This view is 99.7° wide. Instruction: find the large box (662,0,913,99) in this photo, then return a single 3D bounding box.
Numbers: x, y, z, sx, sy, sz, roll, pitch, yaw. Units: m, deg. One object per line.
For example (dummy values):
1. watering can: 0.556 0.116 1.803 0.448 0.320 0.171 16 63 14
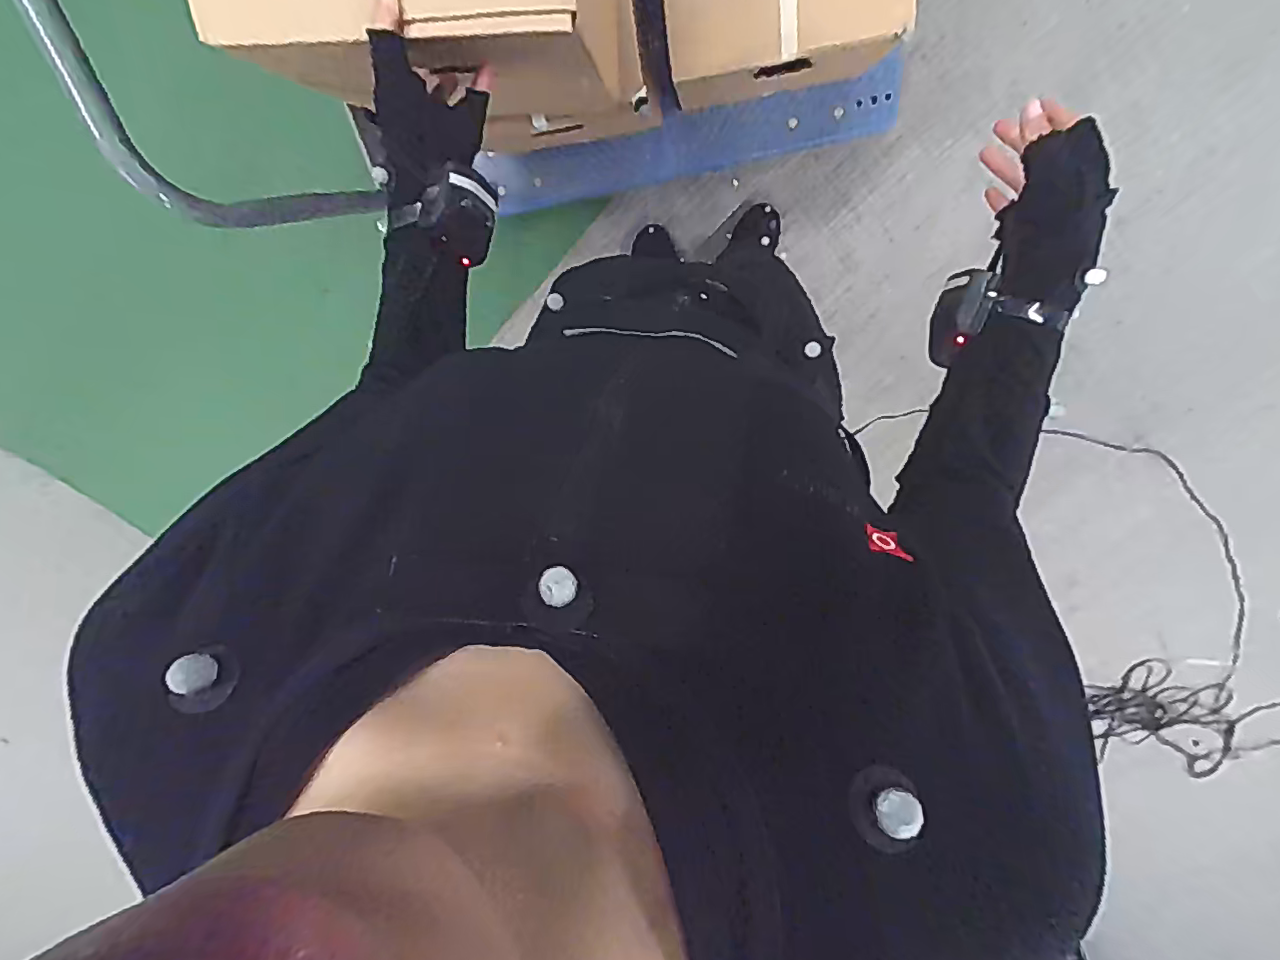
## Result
1. large box: 0.174 -0.809 0.744 0.320 0.320 0.408 -5 119 10
